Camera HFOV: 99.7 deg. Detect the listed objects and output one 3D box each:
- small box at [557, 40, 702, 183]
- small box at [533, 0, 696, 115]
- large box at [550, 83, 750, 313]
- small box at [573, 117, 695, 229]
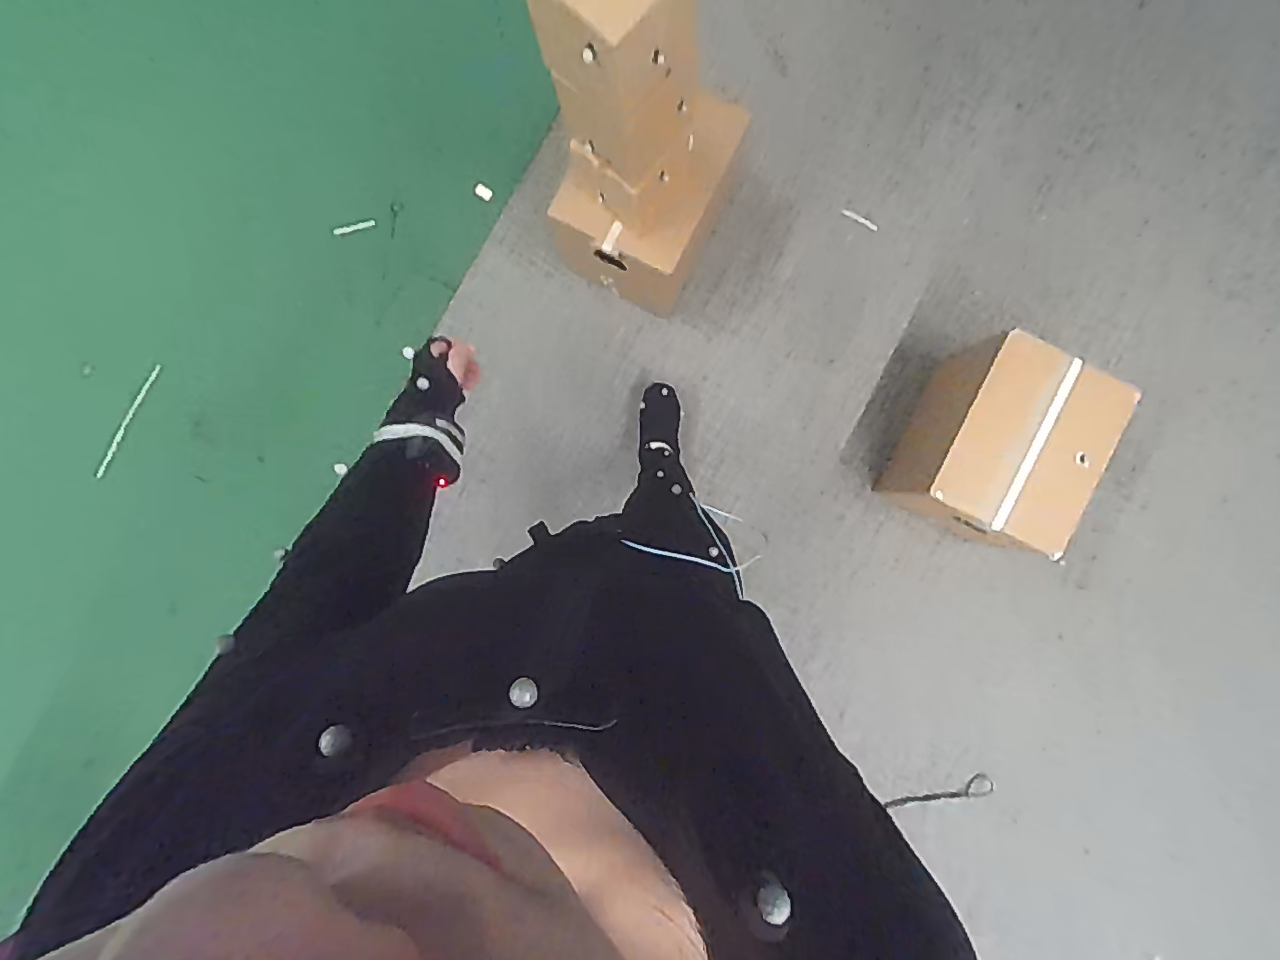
[{"bbox_3d":[-0.016,-0.667,0.931,0.168,0.176,0.179,42,92,3],"label":"small box"},{"bbox_3d":[-0.032,-0.669,0.767,0.179,0.176,0.168,43,91,2],"label":"small box"},{"bbox_3d":[0.026,-0.697,1.335,0.320,0.320,0.408,27,90,1],"label":"large box"},{"bbox_3d":[-0.011,-0.656,1.094,0.168,0.176,0.179,38,91,2],"label":"small box"}]
